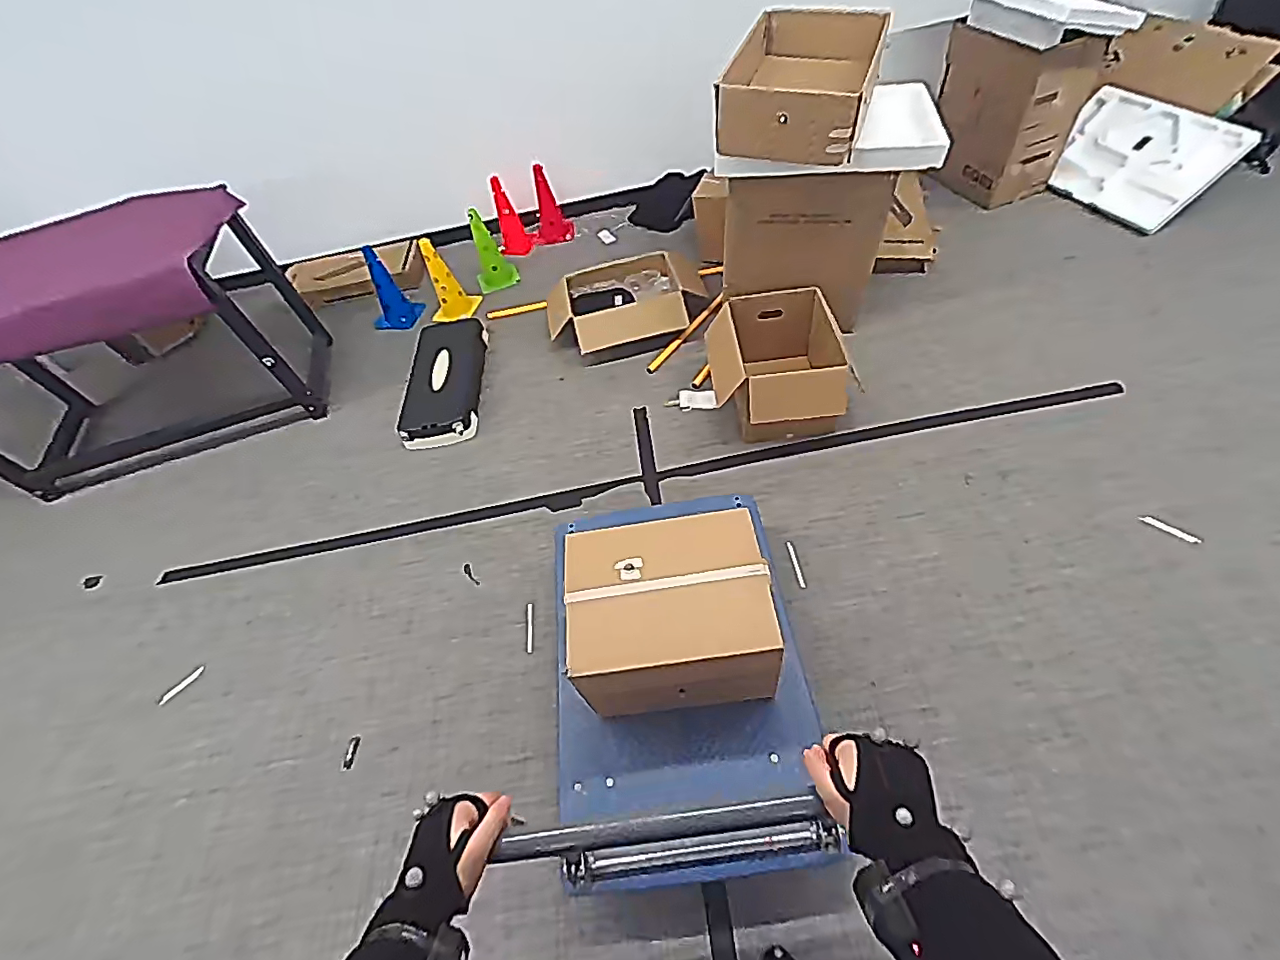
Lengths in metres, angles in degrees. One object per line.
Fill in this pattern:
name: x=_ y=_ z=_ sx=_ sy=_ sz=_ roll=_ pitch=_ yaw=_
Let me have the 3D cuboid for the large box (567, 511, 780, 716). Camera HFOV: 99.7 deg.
large box: x=0.072 y=0.309 z=1.212 sx=0.408 sy=0.320 sz=0.320 roll=-10 pitch=51 yaw=4
